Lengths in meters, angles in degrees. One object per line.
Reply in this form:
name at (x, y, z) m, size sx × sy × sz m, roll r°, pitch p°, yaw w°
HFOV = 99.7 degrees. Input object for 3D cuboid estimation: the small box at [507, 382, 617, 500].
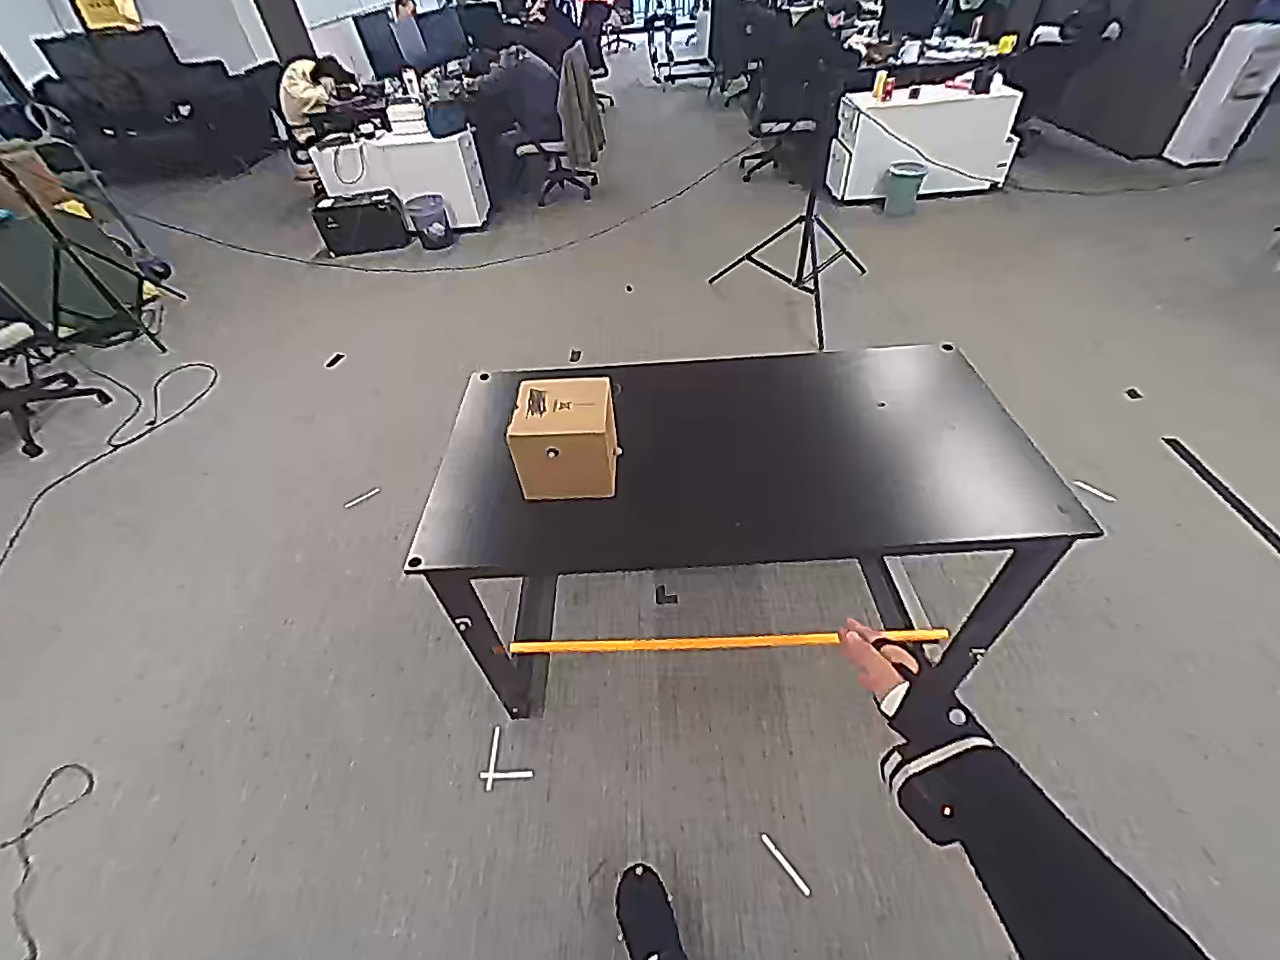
small box at (-0.143, -0.073, 1.057) m, size 0.179 × 0.176 × 0.168 m, roll -2°, pitch 45°, yaw 2°
